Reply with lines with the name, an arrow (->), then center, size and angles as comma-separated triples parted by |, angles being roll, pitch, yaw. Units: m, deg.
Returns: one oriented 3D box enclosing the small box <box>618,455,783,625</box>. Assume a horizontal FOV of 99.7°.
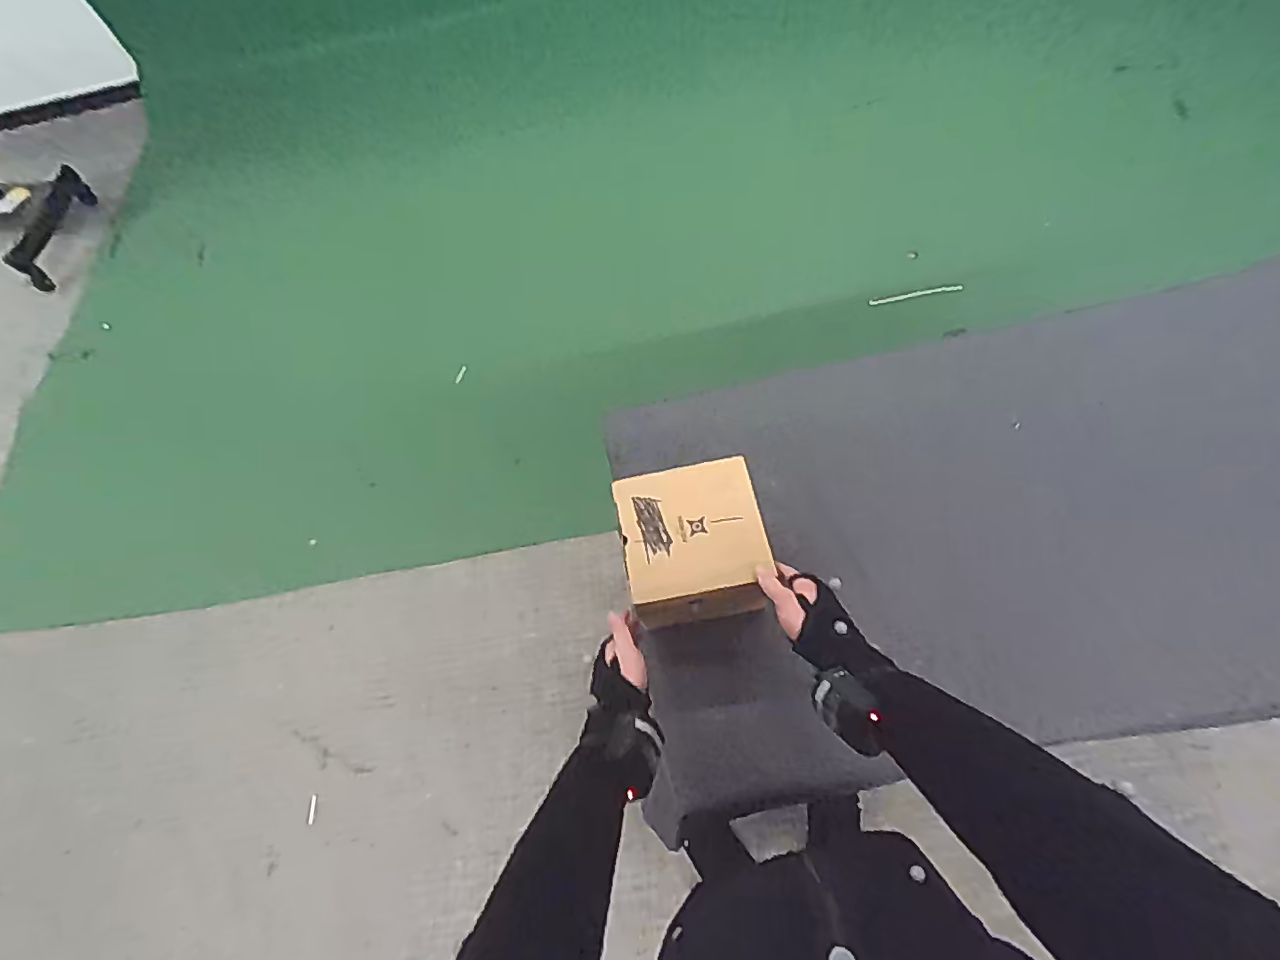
small box -> 0.076, 0.089, 0.725 | 0.179, 0.176, 0.168 | -10, 65, 0
